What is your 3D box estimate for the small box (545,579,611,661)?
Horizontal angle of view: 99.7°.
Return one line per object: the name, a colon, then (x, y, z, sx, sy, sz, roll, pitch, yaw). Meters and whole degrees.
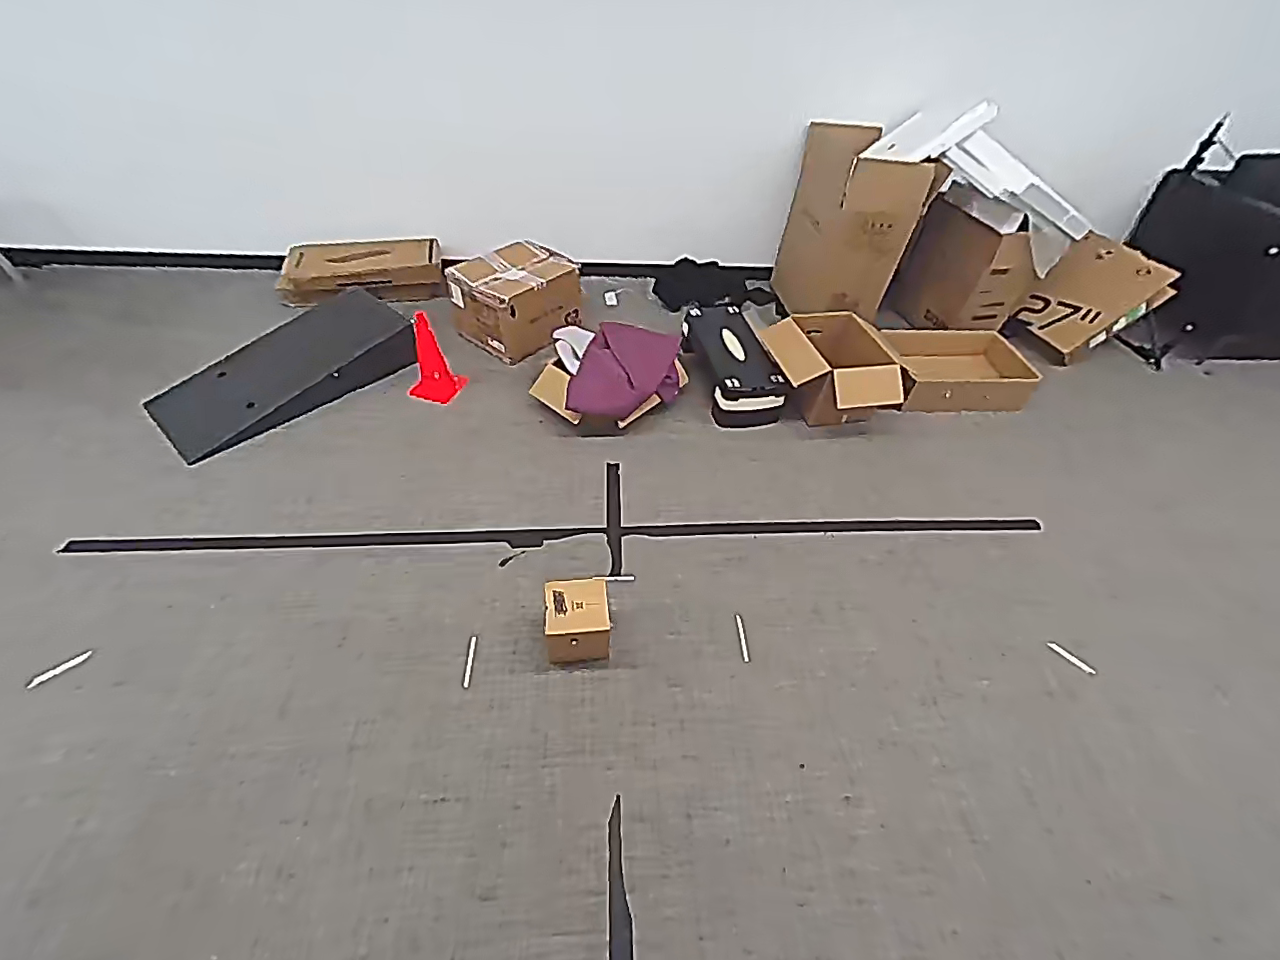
small box: (-0.176, 0.404, 1.548, 0.179, 0.176, 0.168, -3, 47, -8)
